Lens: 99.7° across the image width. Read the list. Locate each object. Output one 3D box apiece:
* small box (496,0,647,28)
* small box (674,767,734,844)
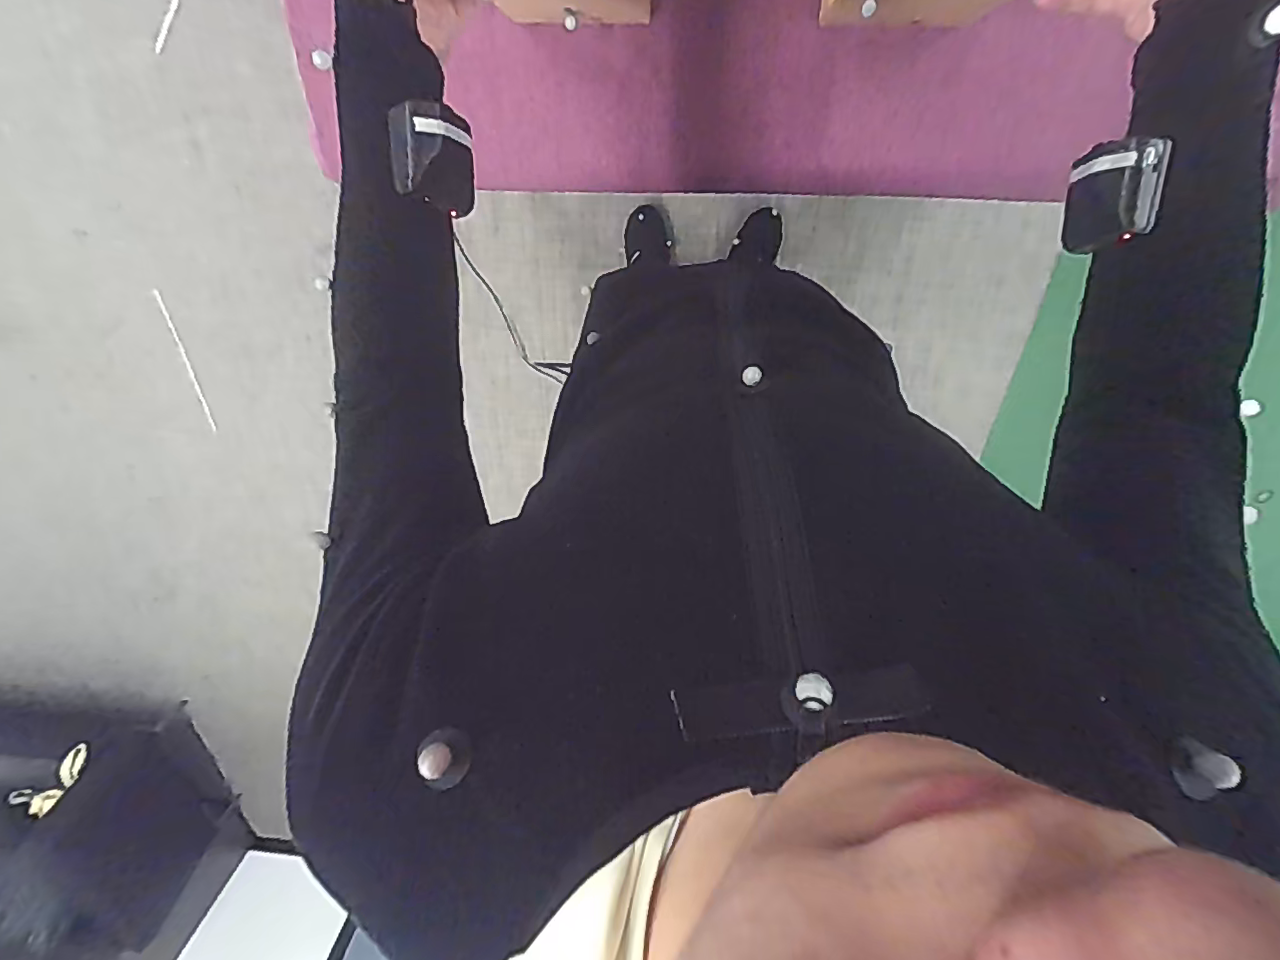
[{"bbox_3d":[-0.078,-0.573,0.525,0.168,0.176,0.179,4,120,4],"label":"small box"},{"bbox_3d":[0.224,1.148,1.913,0.179,0.176,0.168,11,121,-1],"label":"small box"}]
